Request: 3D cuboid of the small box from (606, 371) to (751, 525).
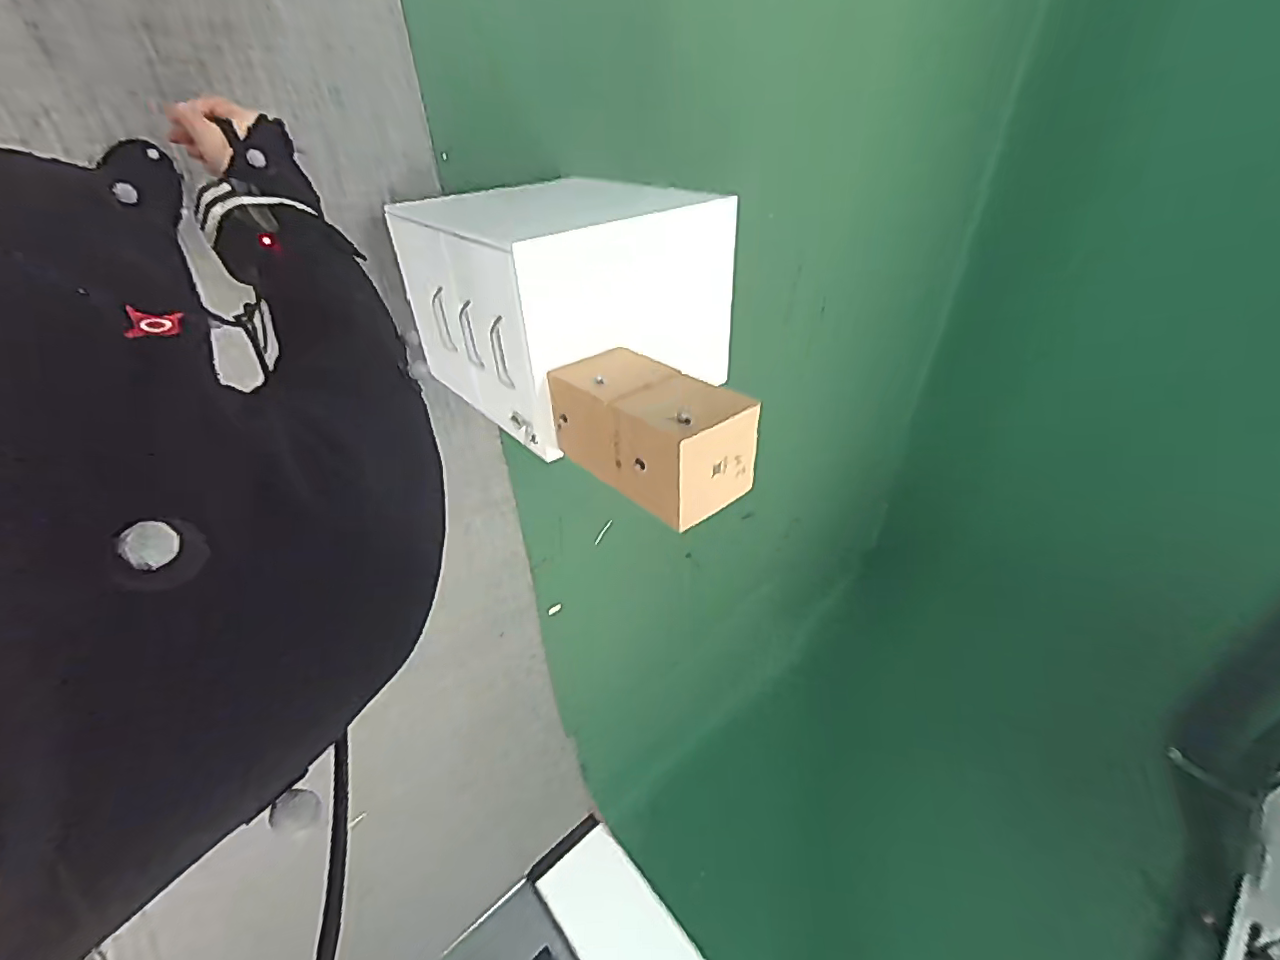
[{"bbox_3d":[0.055,-0.061,0.885,0.179,0.176,0.168,-28,133,-32],"label":"small box"}]
